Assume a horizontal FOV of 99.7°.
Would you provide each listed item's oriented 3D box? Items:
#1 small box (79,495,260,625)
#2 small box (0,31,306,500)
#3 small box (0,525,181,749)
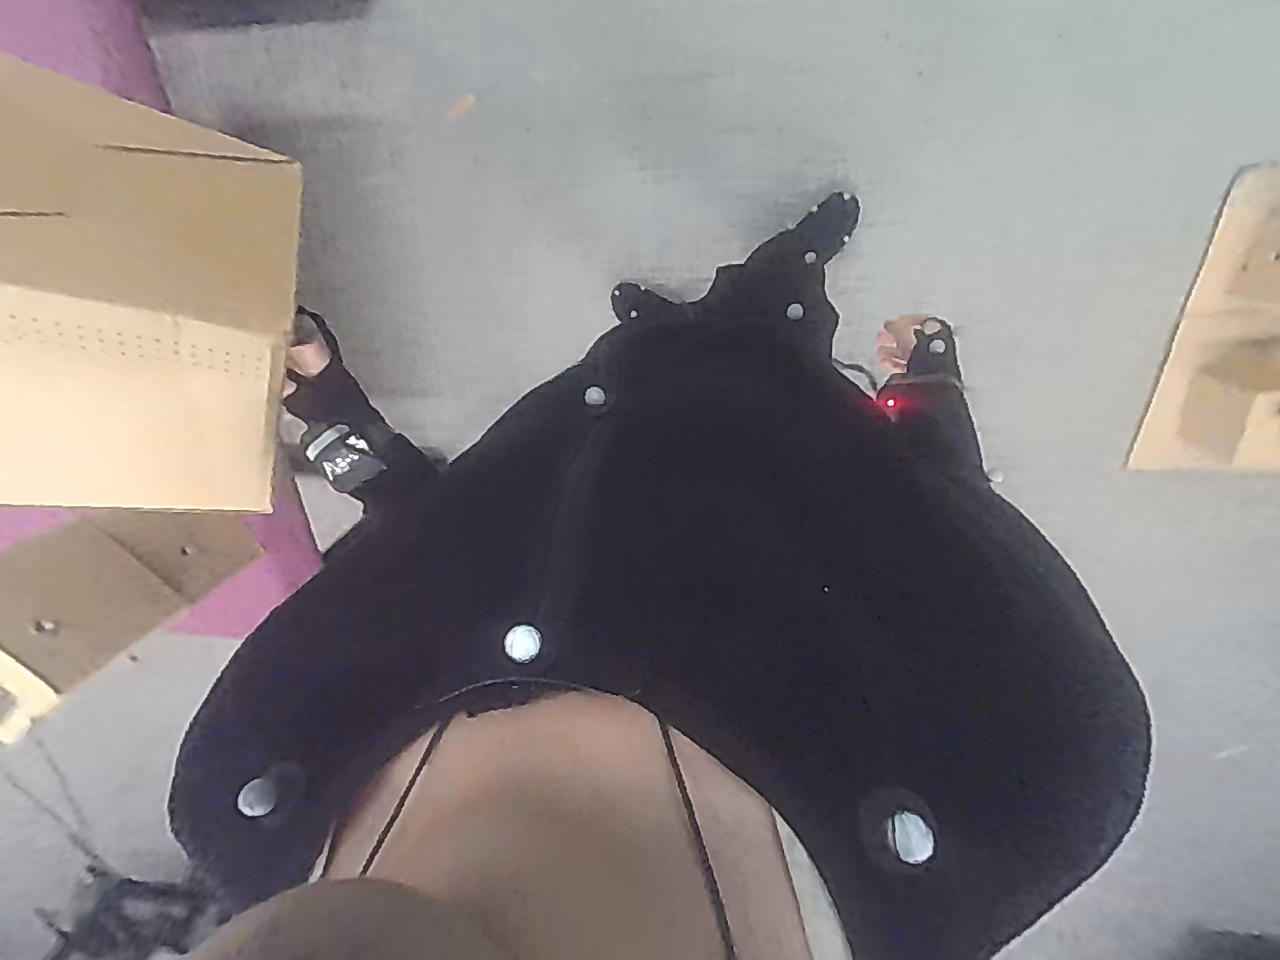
[{"bbox_3d":[-0.744,0.118,0.828,0.168,0.176,0.179,-22,111,15],"label":"small box"},{"bbox_3d":[-0.292,-0.105,0.298,0.179,0.168,0.176,6,141,-36],"label":"small box"},{"bbox_3d":[-0.746,0.189,0.679,0.168,0.176,0.179,-33,106,19],"label":"small box"}]
